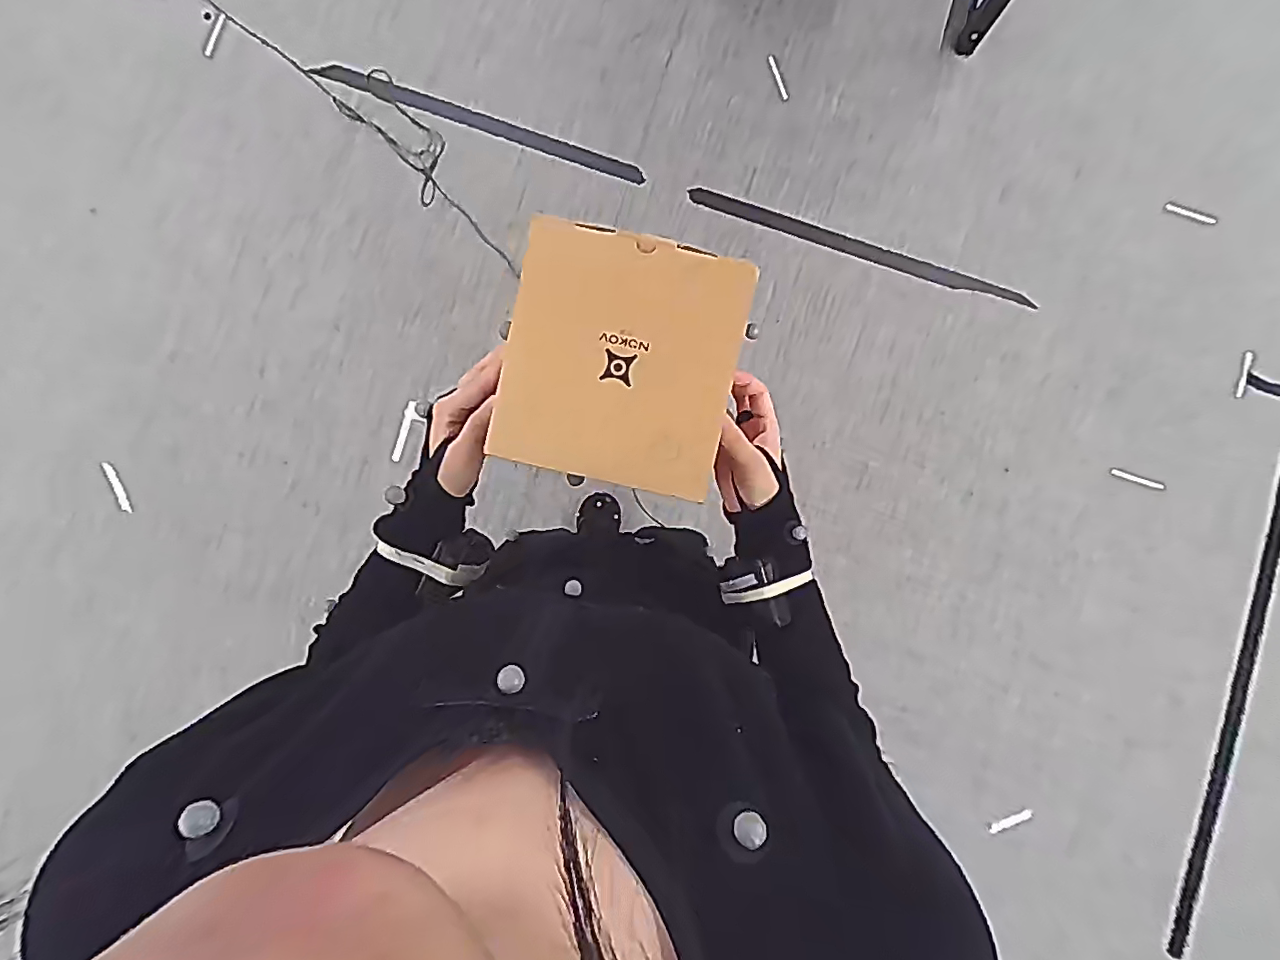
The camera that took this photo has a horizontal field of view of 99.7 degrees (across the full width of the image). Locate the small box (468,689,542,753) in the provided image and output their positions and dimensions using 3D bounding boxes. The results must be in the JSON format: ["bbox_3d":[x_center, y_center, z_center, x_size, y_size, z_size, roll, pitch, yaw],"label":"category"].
[{"bbox_3d":[-0.362,0.665,1.380,0.168,0.176,0.179,20,86,-1],"label":"small box"}]

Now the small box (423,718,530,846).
[{"bbox_3d":[-0.357,0.667,1.215,0.168,0.176,0.179,17,87,0],"label":"small box"}]

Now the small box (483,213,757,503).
[{"bbox_3d":[-0.014,-0.089,0.462,0.168,0.176,0.179,13,93,0],"label":"small box"}]
